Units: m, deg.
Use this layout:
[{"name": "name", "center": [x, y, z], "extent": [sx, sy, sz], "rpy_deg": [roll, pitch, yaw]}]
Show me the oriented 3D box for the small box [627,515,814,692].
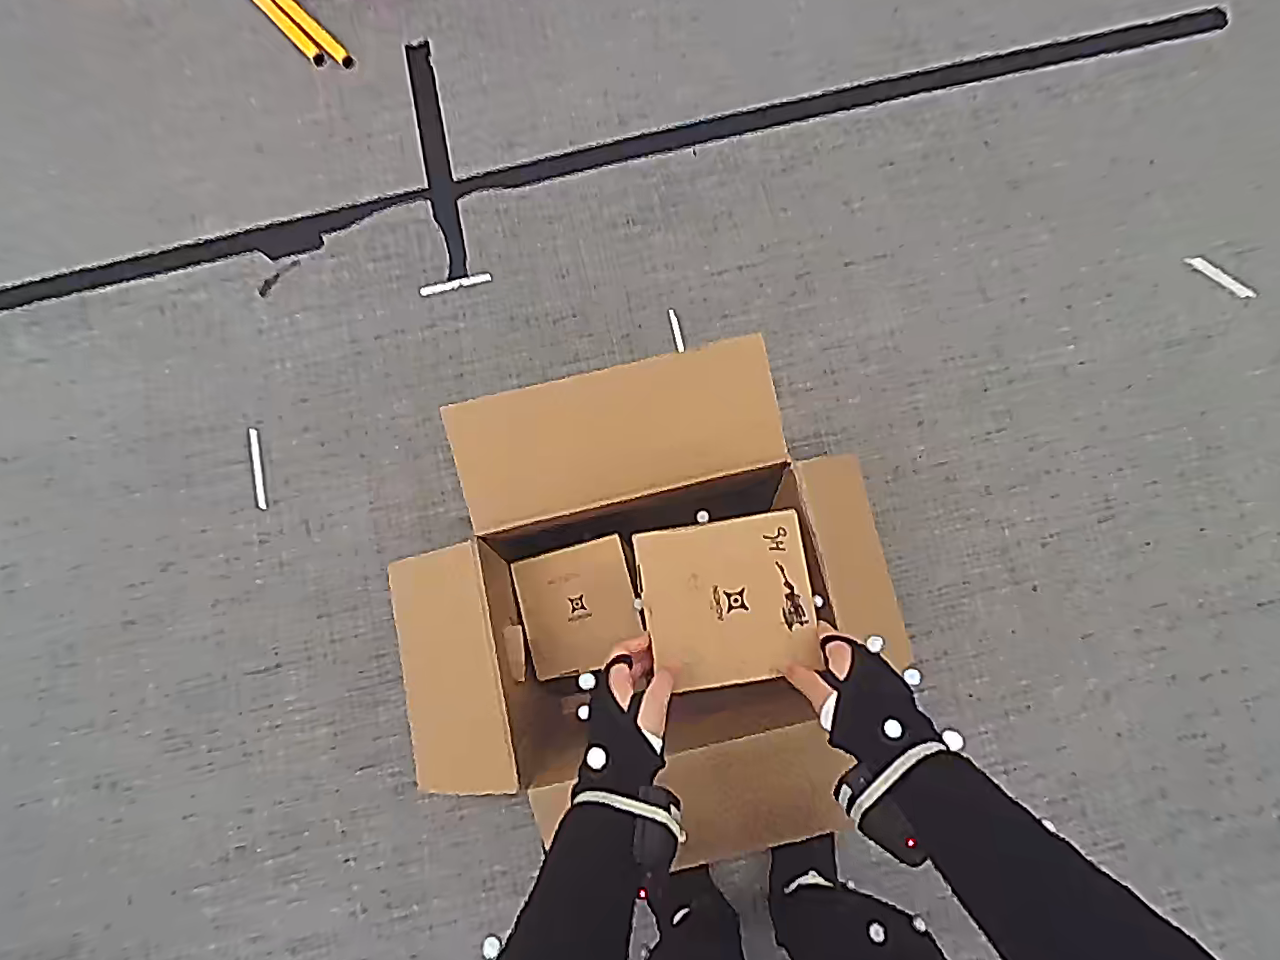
[{"name": "small box", "center": [0.088, 0.138, 0.645], "extent": [0.179, 0.176, 0.168], "rpy_deg": [-9, 84, 2]}]
